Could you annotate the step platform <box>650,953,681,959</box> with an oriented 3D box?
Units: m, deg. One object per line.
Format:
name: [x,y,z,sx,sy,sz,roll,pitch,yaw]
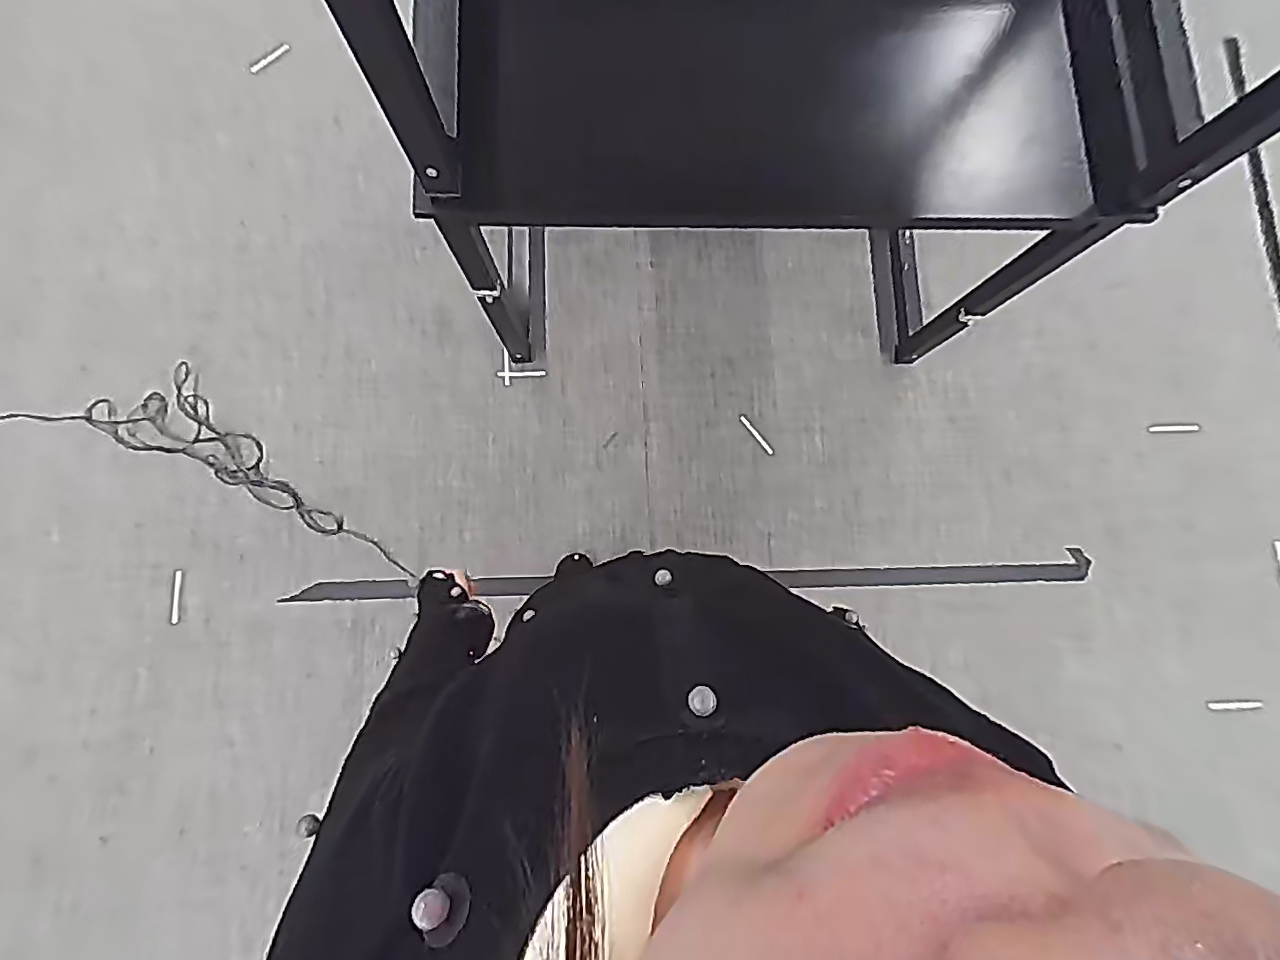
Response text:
step platform: [0.340,1.342,1.261,0.684,0.204,0.286,5,82,-3]
